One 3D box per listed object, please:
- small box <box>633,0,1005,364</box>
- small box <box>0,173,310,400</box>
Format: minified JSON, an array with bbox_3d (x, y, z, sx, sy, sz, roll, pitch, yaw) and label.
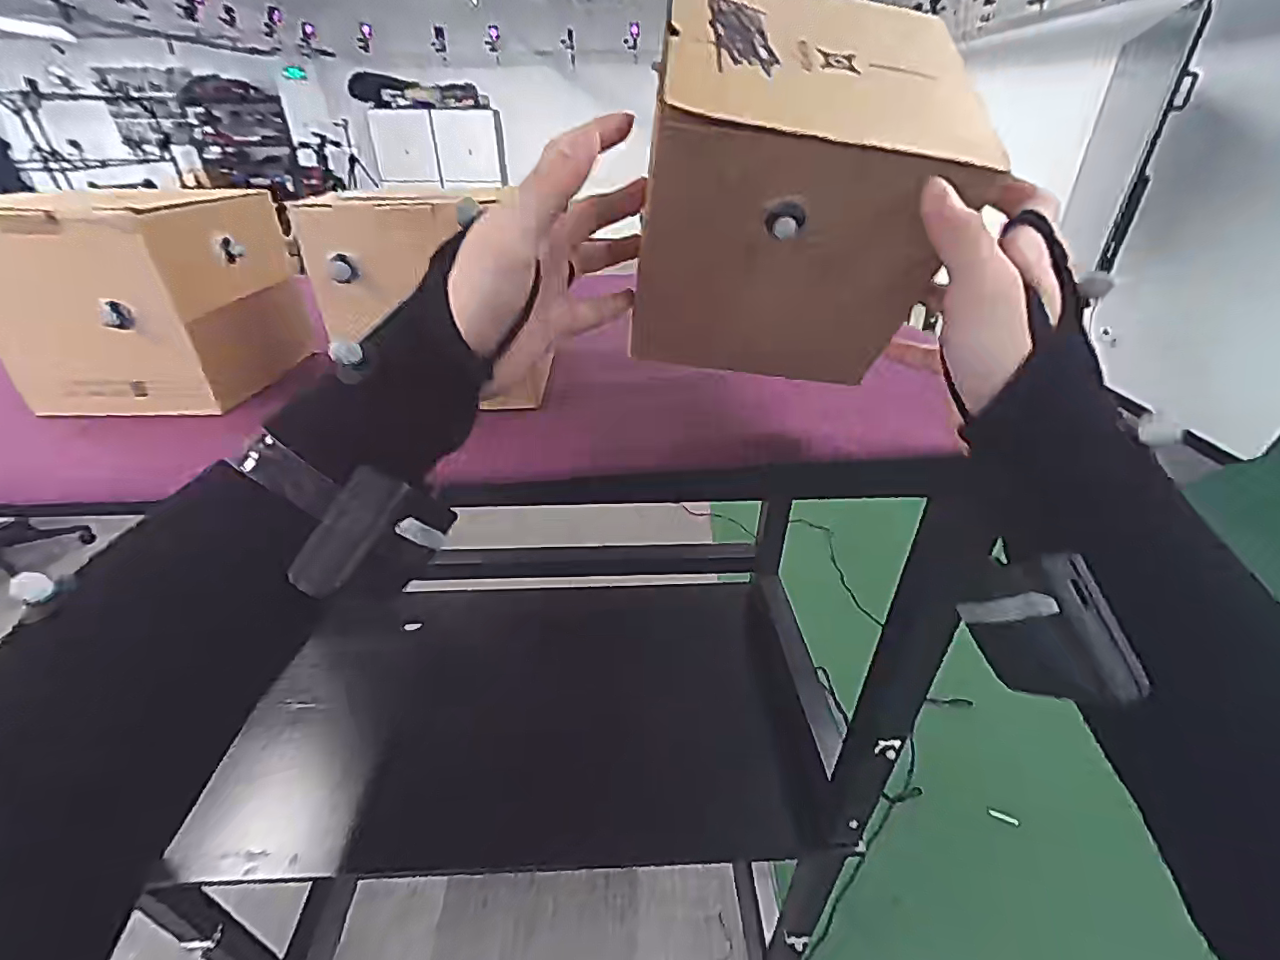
[{"bbox_3d":[0.091,-0.199,0.369,0.179,0.176,0.168,6,60,-4],"label":"small box"},{"bbox_3d":[-0.443,-0.181,0.498,0.168,0.176,0.179,1,32,-1],"label":"small box"}]
